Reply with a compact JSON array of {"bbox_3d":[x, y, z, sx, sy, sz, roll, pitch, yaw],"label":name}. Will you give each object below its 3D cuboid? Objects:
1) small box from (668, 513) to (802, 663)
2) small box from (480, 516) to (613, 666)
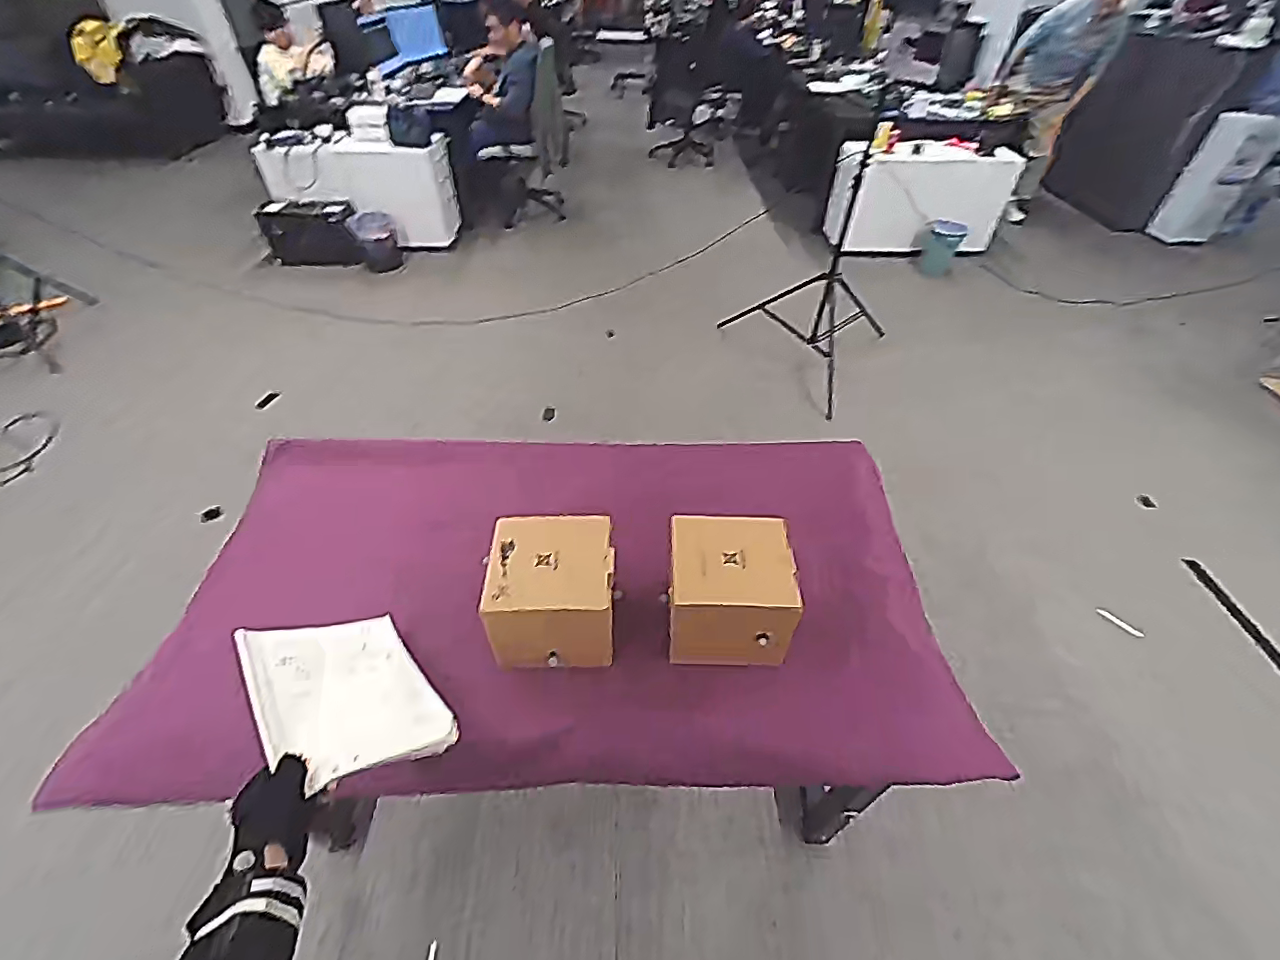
[{"bbox_3d":[0.135,0.169,0.840,0.179,0.176,0.168,1,43,2],"label":"small box"},{"bbox_3d":[-0.131,0.172,0.830,0.179,0.176,0.168,0,44,-2],"label":"small box"}]
